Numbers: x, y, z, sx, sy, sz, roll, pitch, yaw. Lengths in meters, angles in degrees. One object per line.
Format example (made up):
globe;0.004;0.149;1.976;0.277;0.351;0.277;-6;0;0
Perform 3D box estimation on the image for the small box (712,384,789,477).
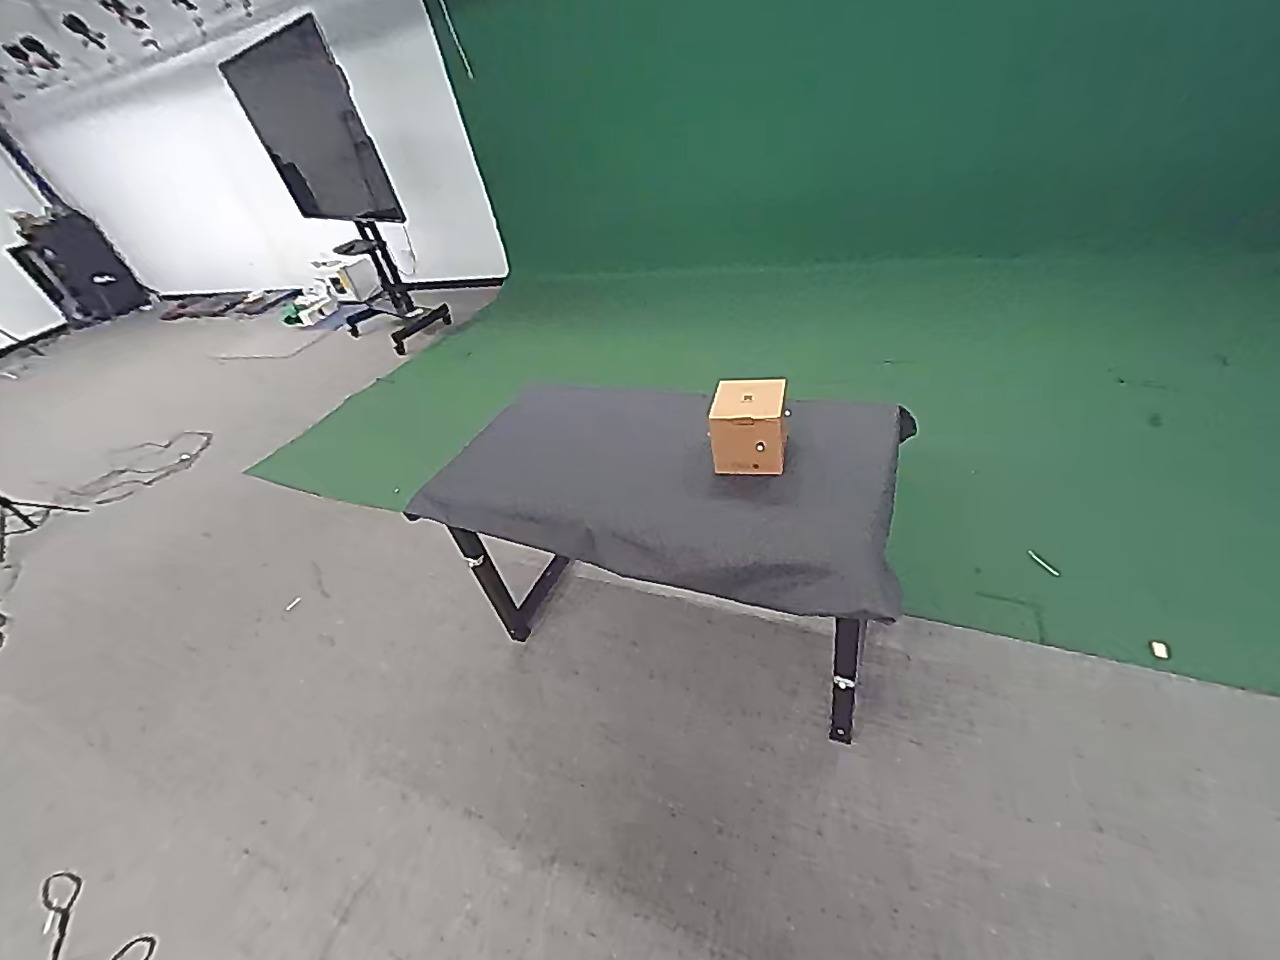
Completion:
small box;0.281;-0.123;1.348;0.168;0.176;0.179;3;39;18
